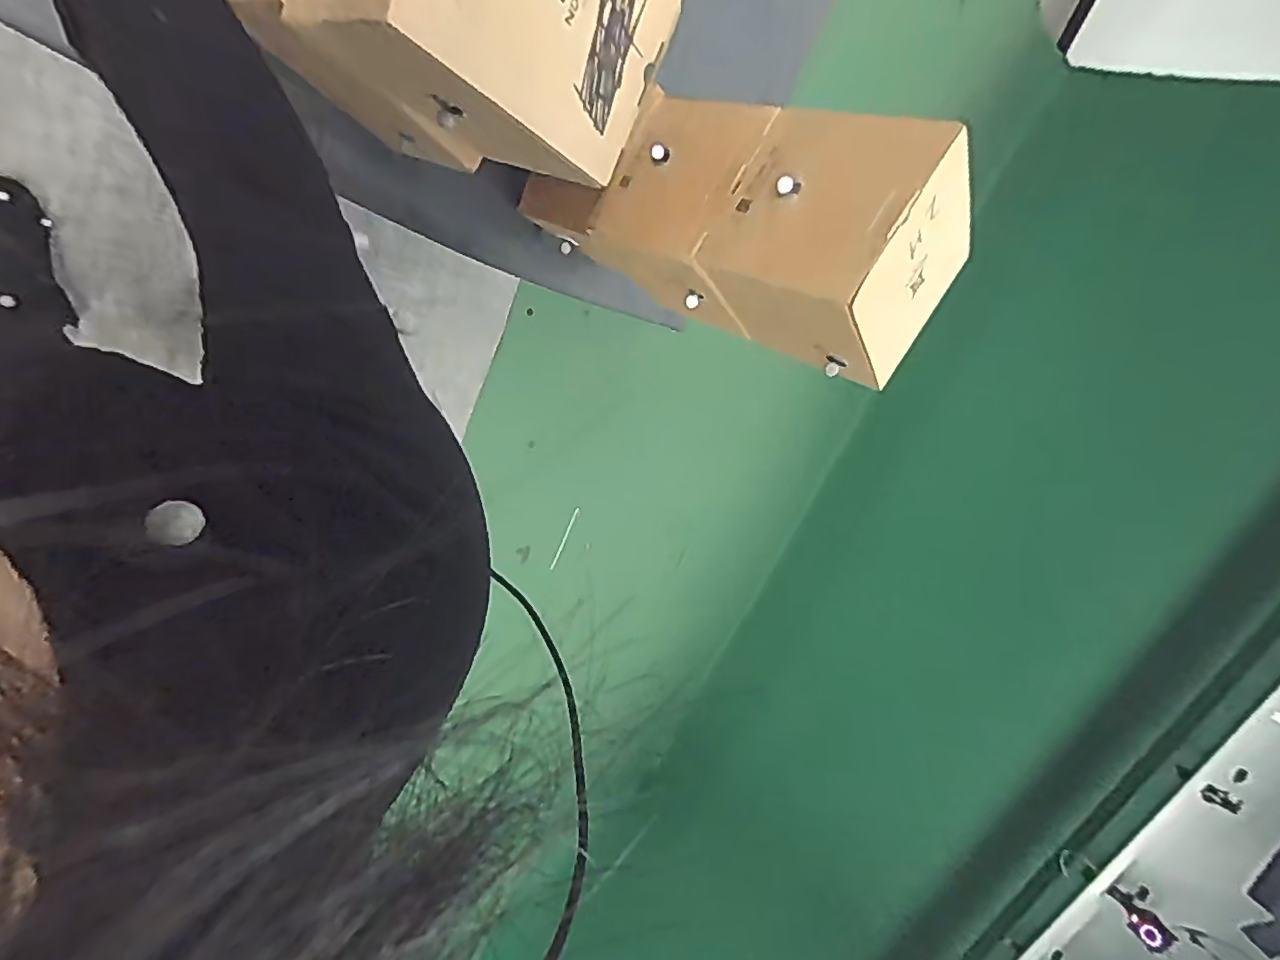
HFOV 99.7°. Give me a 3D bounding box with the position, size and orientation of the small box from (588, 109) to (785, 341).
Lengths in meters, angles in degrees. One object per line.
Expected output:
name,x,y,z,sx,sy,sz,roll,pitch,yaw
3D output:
small box,0.076,-0.294,0.626,0.179,0.176,0.168,25,98,-54

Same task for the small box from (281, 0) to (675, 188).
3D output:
small box,-0.104,-0.335,0.366,0.179,0.176,0.168,7,112,-52

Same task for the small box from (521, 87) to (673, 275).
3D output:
small box,-0.029,-0.383,0.714,0.168,0.176,0.179,7,113,-51

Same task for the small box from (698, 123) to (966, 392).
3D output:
small box,0.191,-0.219,0.535,0.168,0.176,0.179,-58,144,3
